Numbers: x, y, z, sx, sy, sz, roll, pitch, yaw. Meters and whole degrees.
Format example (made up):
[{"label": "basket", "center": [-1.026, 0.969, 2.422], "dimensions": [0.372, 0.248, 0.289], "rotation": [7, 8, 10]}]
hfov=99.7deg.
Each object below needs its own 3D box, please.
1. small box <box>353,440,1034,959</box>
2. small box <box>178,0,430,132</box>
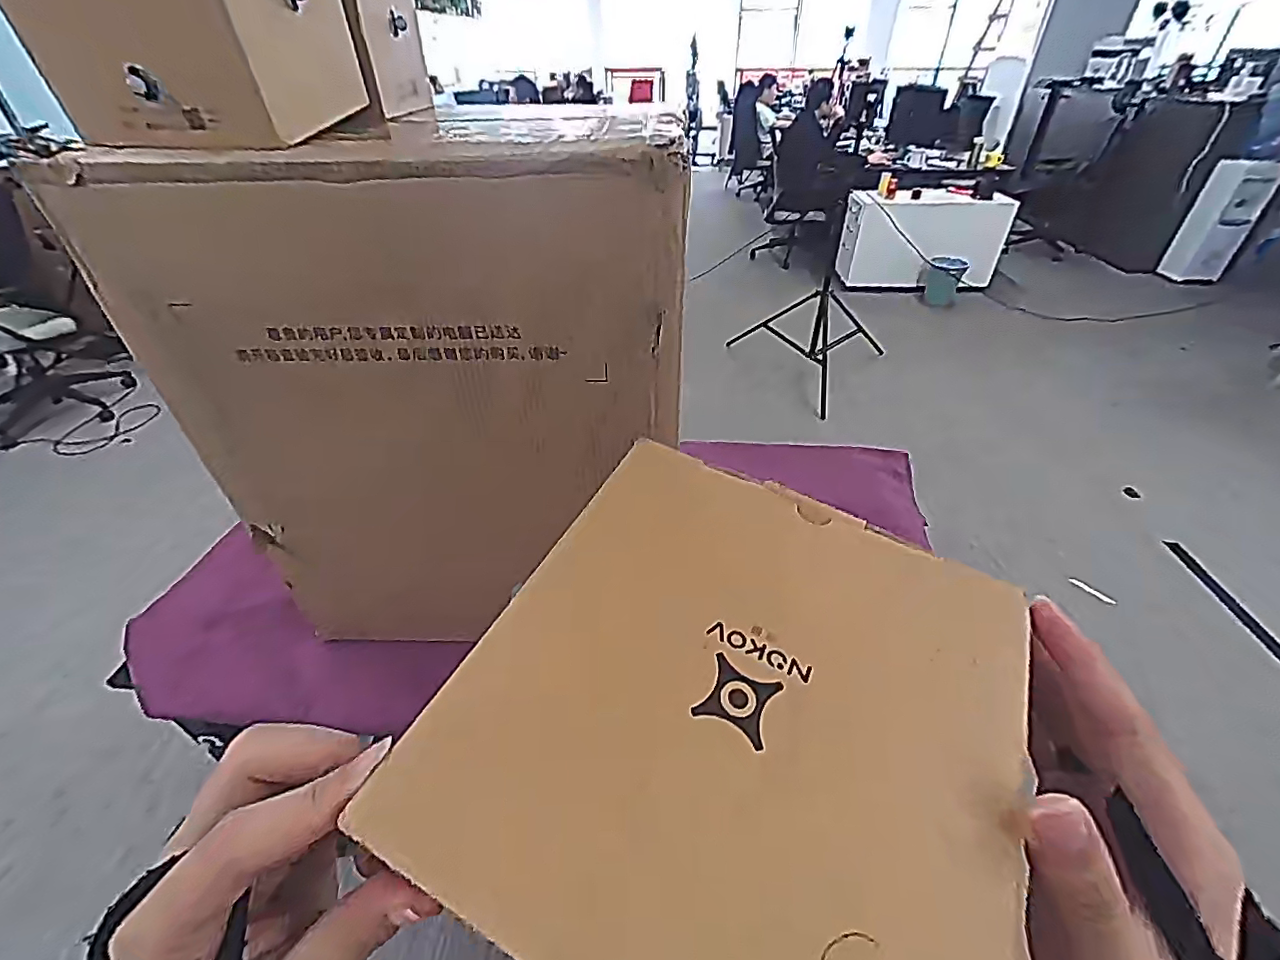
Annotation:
[{"label": "small box", "center": [0.030, 0.120, 0.229], "dimensions": [0.168, 0.176, 0.179], "rotation": [22, 49, 17]}, {"label": "small box", "center": [-0.347, -0.483, 0.579], "dimensions": [0.179, 0.176, 0.168], "rotation": [1, 38, 0]}]
